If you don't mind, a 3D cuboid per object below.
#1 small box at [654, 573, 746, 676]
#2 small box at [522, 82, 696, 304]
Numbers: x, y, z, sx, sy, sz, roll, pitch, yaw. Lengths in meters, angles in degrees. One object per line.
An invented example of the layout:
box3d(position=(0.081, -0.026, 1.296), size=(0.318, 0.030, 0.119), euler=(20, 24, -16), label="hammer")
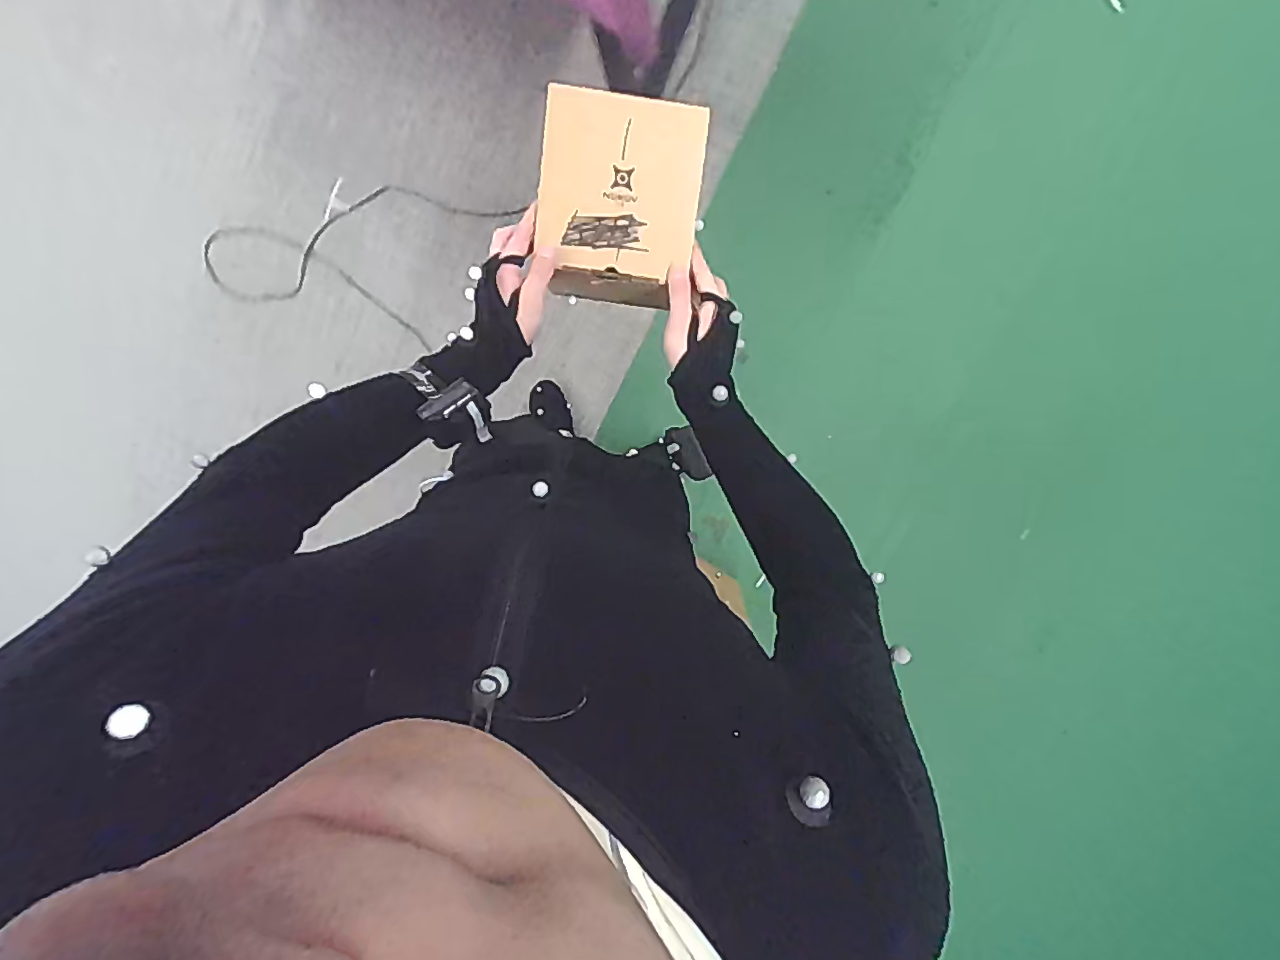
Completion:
box3d(position=(0.157, 0.374, 1.434), size=(0.179, 0.176, 0.168), euler=(34, 100, -1), label="small box")
box3d(position=(-0.035, -0.312, 0.629), size=(0.168, 0.176, 0.179), euler=(5, 98, -3), label="small box")
